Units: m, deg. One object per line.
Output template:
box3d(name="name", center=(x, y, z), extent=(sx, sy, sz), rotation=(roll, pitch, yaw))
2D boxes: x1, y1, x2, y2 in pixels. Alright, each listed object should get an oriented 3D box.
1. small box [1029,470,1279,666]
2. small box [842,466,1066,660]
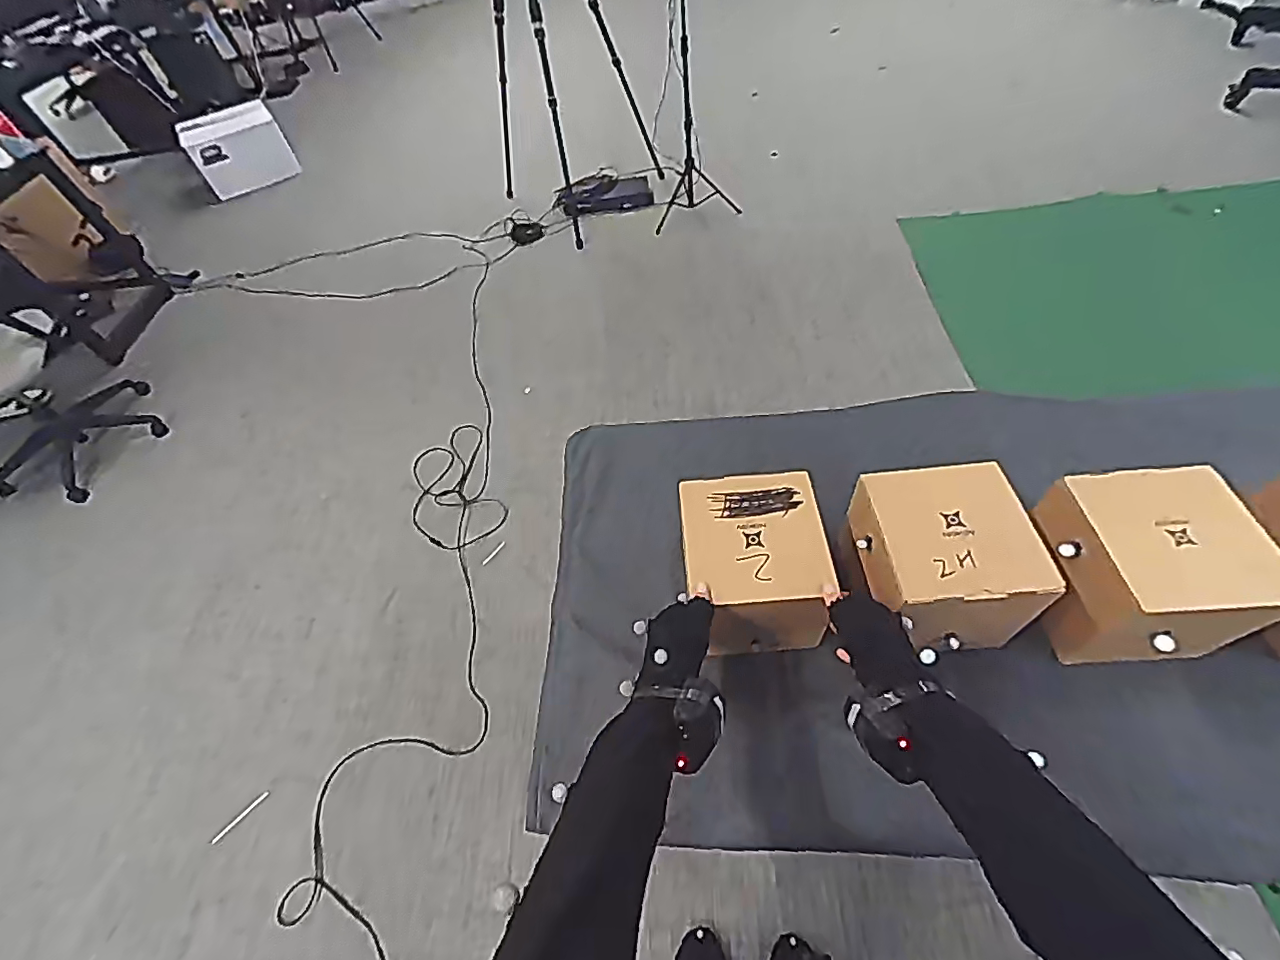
box3d(name="small box", center=(0.587, 0.112, 0.640), extent=(0.168, 0.176, 0.179), rotation=(-5, 52, 5))
box3d(name="small box", center=(0.365, 0.106, 0.674), extent=(0.168, 0.176, 0.179), rotation=(-6, 52, 5))
